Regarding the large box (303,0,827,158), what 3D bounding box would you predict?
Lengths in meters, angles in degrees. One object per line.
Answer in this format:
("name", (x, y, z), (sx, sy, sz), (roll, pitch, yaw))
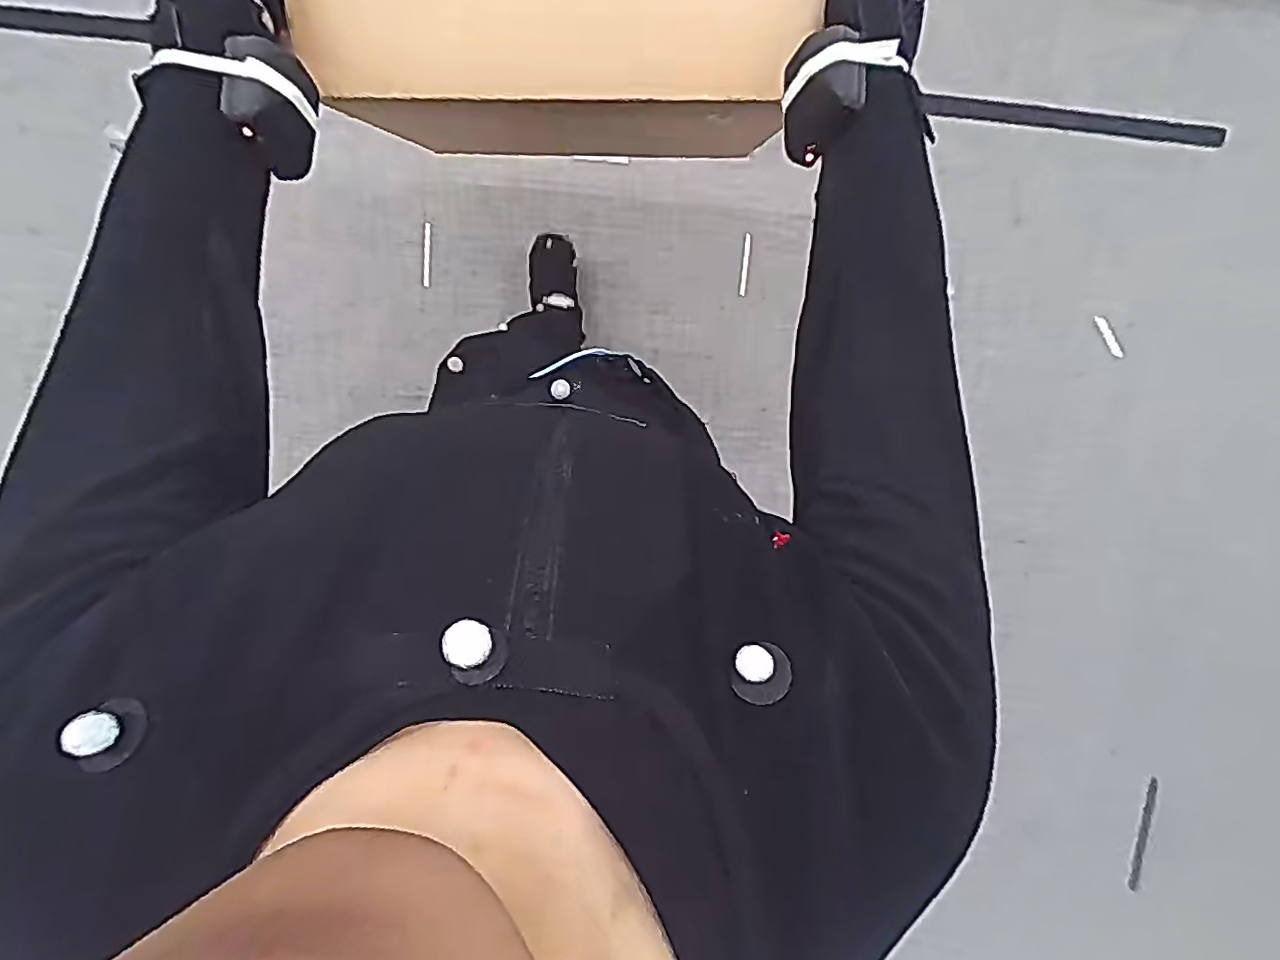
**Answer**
("large box", (-0.060, -0.508, 0.509), (0.408, 0.320, 0.320), (0, 114, -1))
